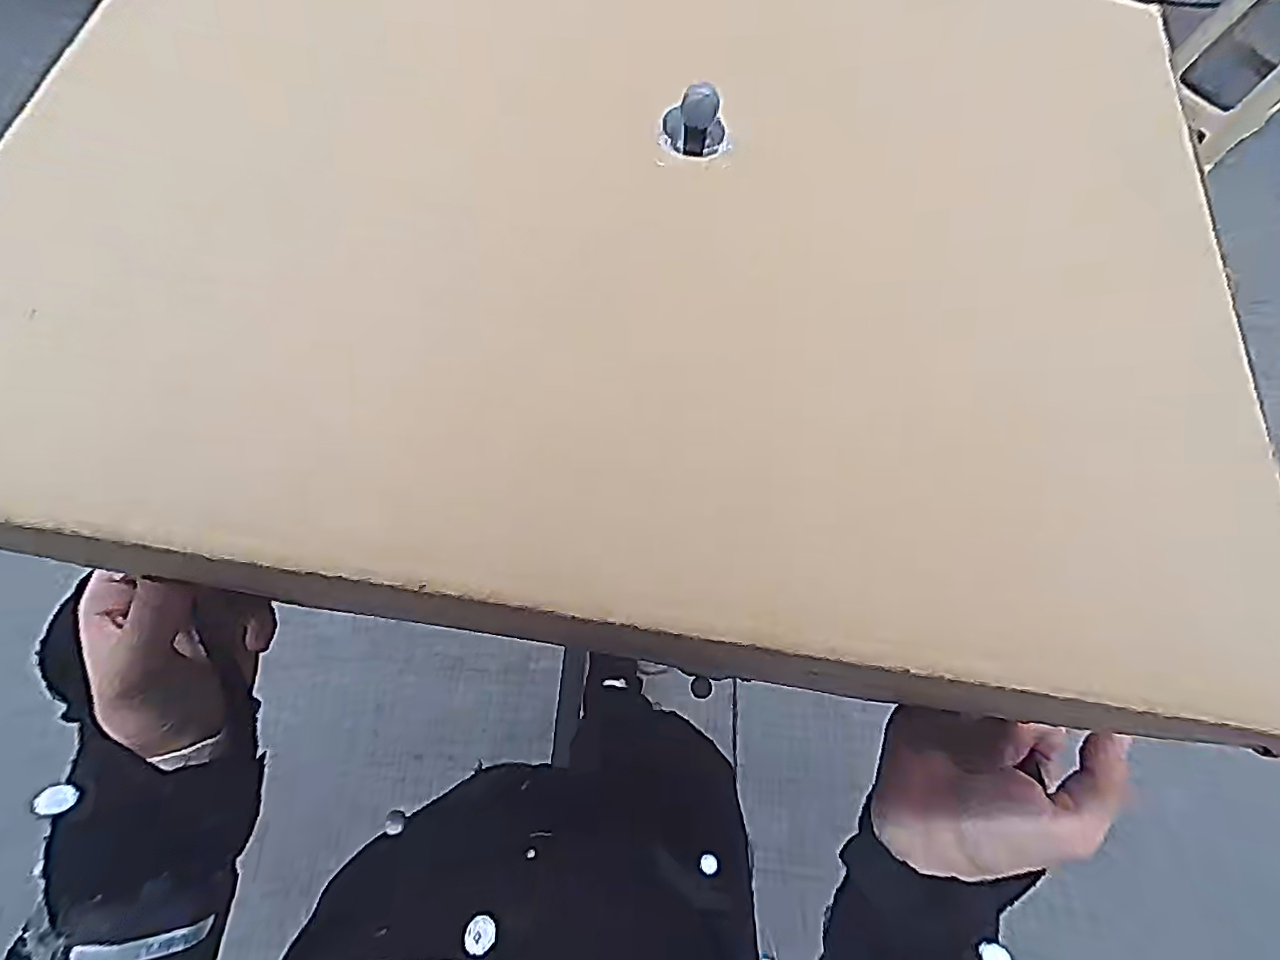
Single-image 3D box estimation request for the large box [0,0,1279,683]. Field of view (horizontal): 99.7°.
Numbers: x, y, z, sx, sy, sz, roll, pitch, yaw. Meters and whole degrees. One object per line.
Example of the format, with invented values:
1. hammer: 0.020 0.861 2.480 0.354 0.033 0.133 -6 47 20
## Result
1. large box: 0.001 -0.076 0.326 0.408 0.320 0.320 10 72 -2
